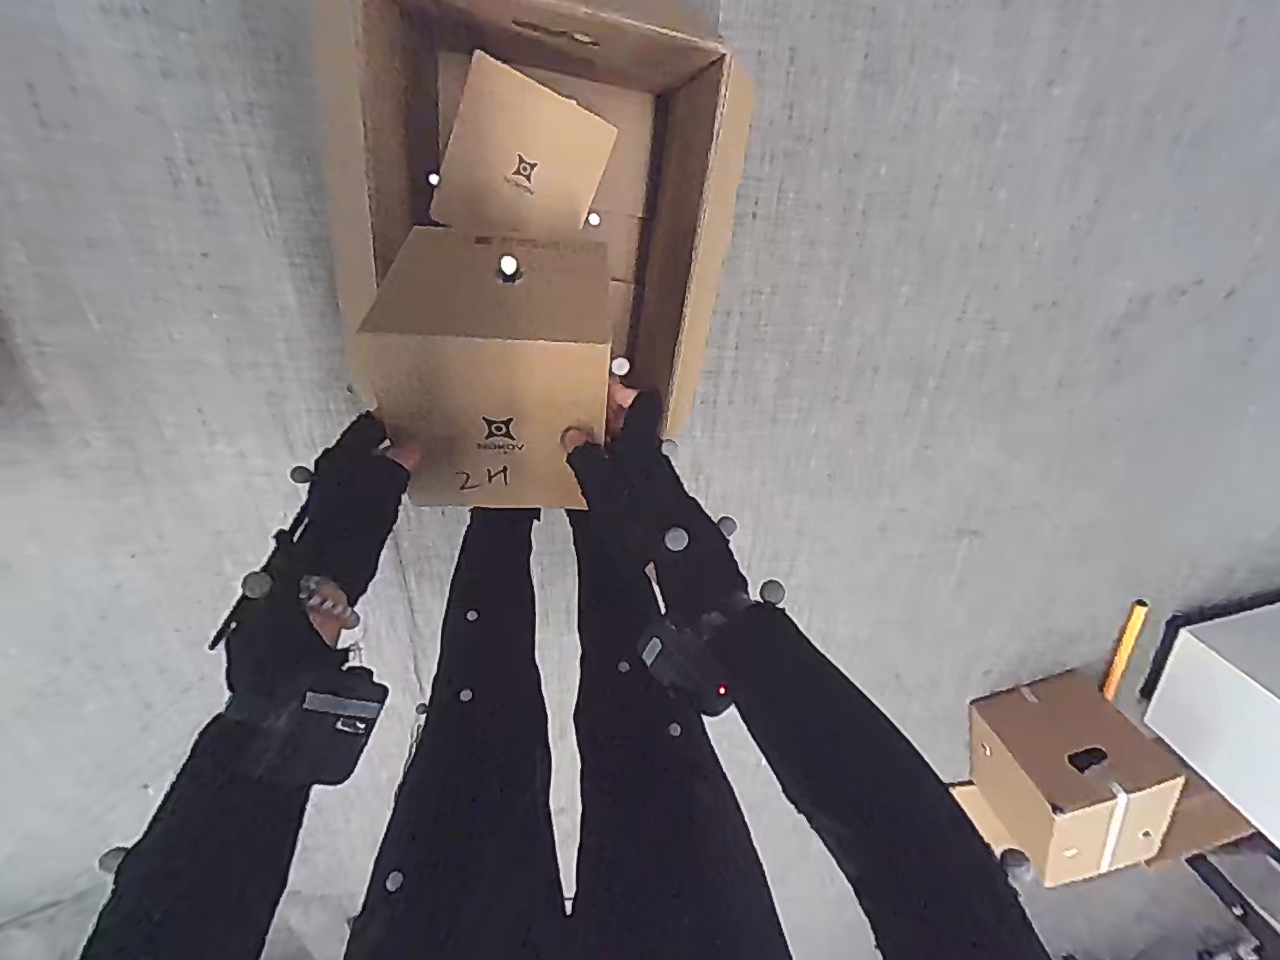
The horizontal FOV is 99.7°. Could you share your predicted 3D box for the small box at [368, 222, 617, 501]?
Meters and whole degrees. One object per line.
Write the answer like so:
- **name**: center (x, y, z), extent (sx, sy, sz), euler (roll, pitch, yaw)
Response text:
- **small box**: center (-0.113, -0.102, 0.471), extent (0.168, 0.176, 0.179), euler (2, 136, -7)
